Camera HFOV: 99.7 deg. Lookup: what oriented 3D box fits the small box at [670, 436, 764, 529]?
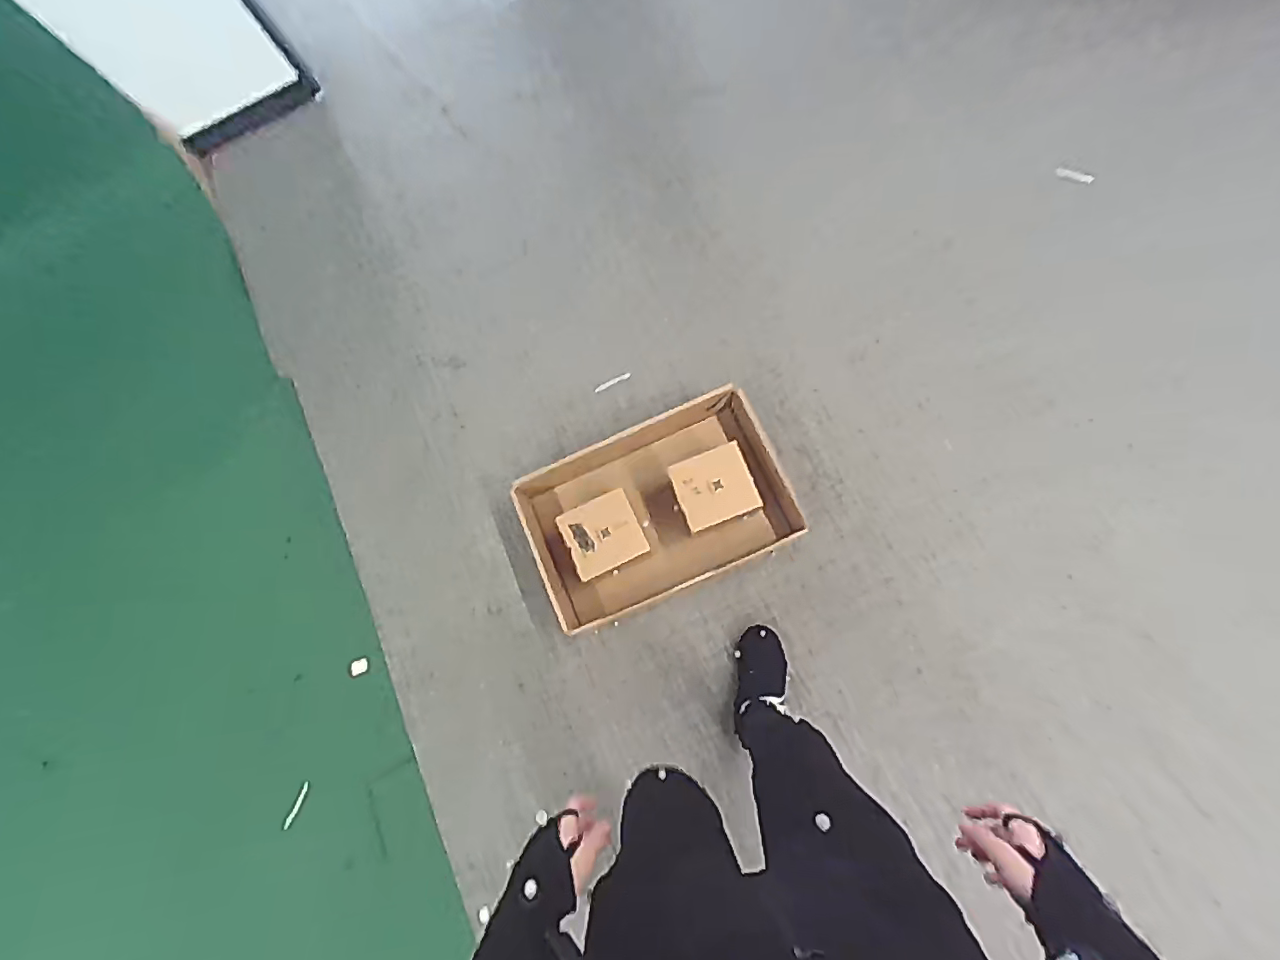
[{"bbox_3d":[0.183,0.012,1.316,0.179,0.176,0.168,-21,78,3],"label":"small box"}]
